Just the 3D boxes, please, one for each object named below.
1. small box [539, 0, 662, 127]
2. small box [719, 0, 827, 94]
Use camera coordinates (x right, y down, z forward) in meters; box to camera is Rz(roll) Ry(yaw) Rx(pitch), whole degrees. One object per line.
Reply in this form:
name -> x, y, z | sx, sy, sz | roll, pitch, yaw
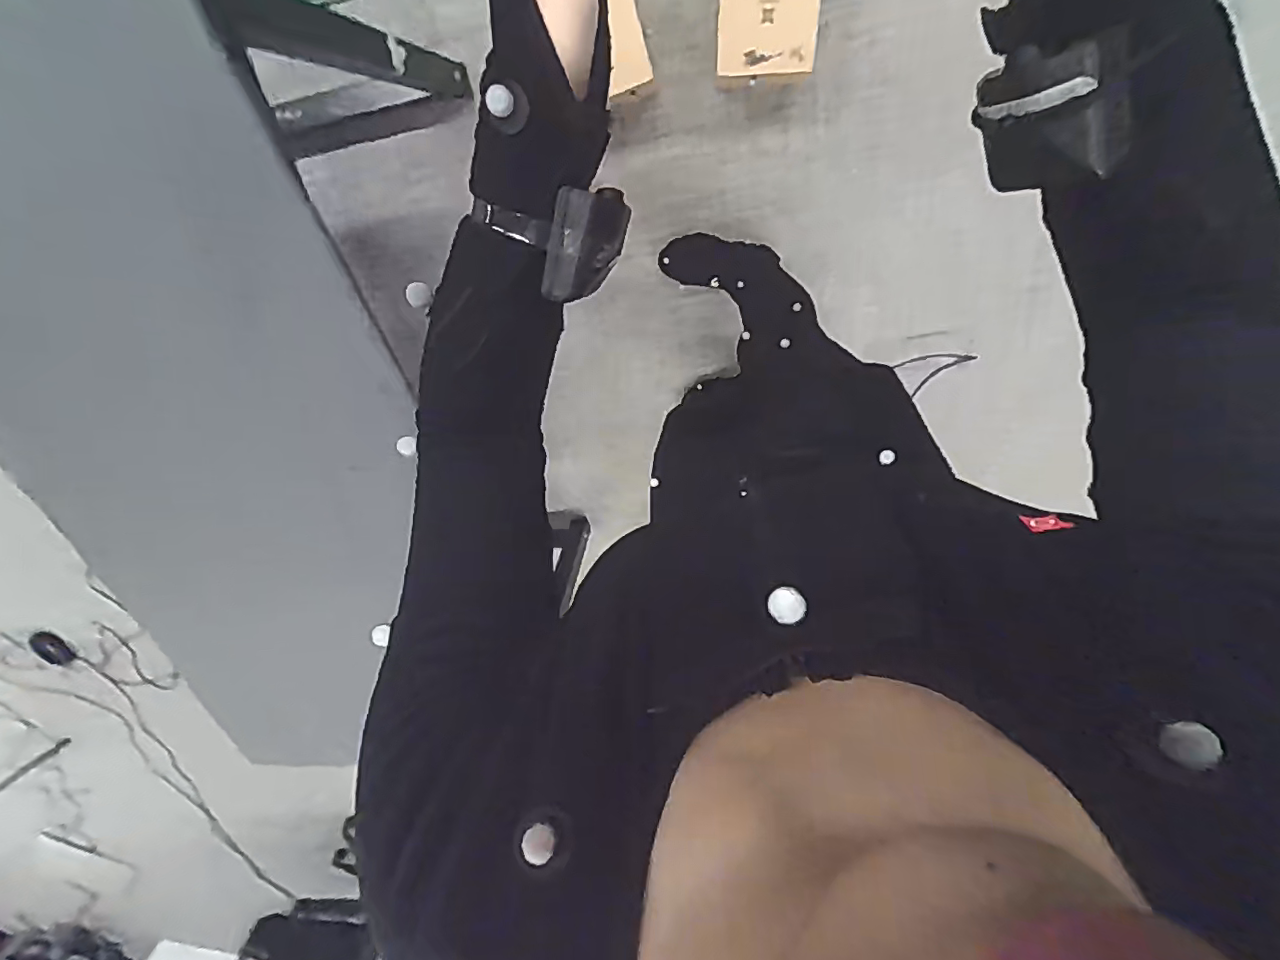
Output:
small box -> -0.062, -0.786, 1.009 | 0.179, 0.176, 0.168 | -14, 117, 14
small box -> 0.230, -0.808, 0.963 | 0.168, 0.176, 0.179 | 1, 120, 5
